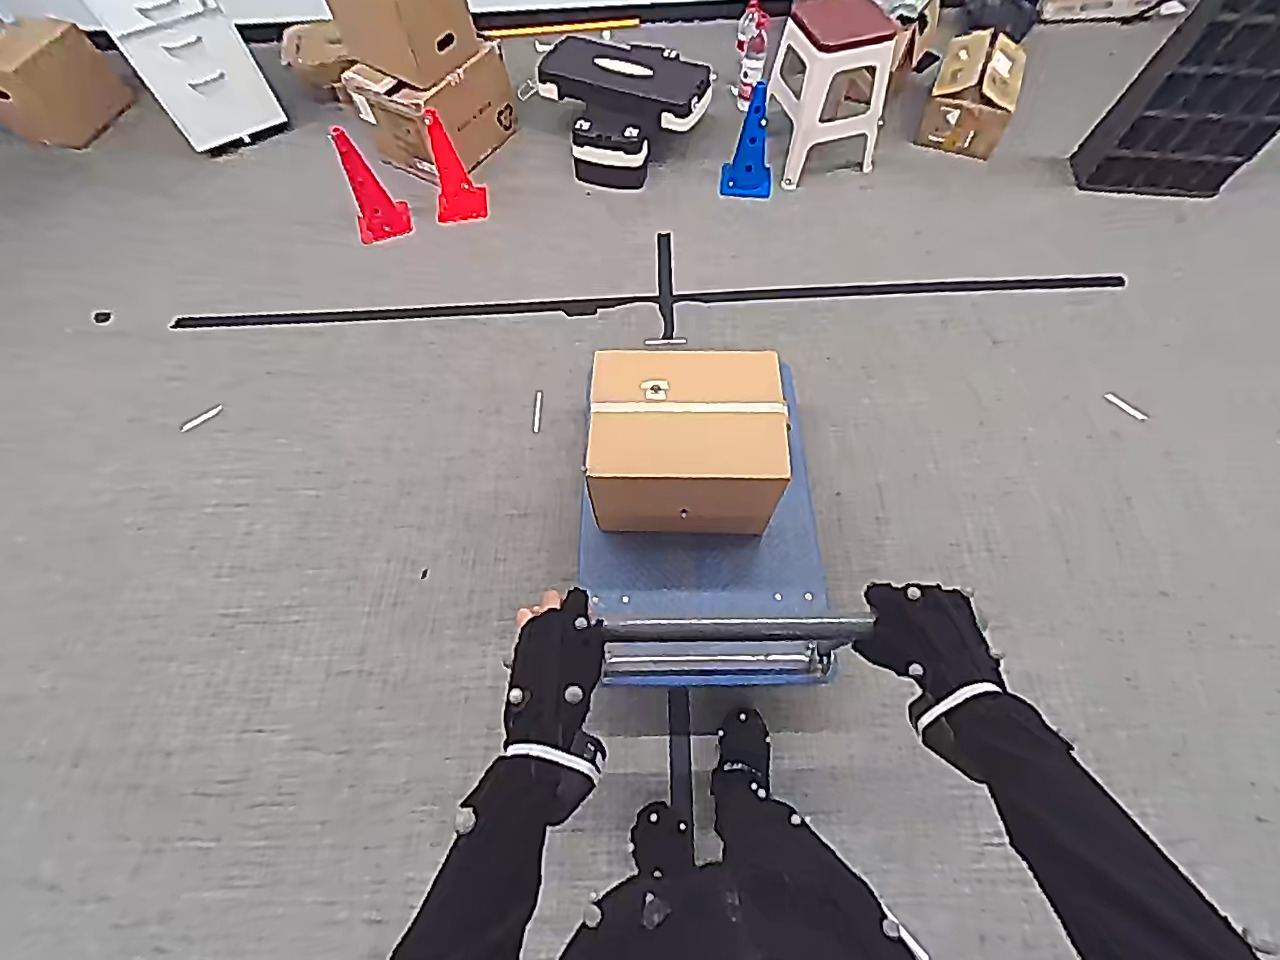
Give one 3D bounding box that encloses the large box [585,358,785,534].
[{"bbox_3d":[0.098,-0.065,1.268,0.408,0.320,0.320,0,64,3],"label":"large box"}]
